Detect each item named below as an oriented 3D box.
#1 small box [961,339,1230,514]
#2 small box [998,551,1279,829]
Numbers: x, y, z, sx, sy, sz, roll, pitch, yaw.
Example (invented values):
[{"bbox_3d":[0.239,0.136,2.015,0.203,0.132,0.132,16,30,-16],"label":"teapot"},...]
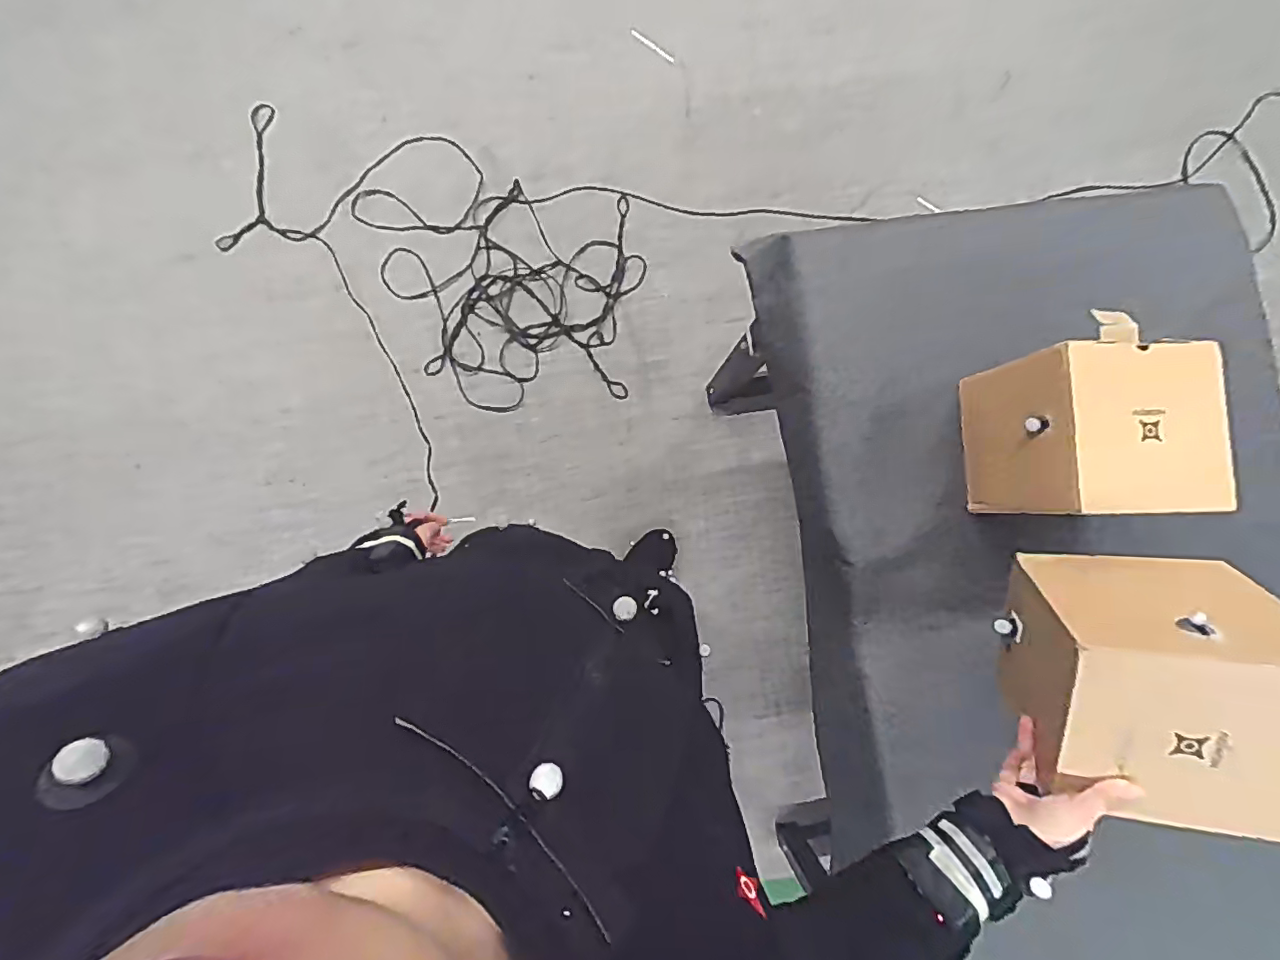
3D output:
[{"bbox_3d":[0.502,-0.050,0.621,0.168,0.176,0.179,-1,85,-4],"label":"small box"},{"bbox_3d":[0.464,0.175,0.498,0.179,0.176,0.168,0,108,17],"label":"small box"}]
